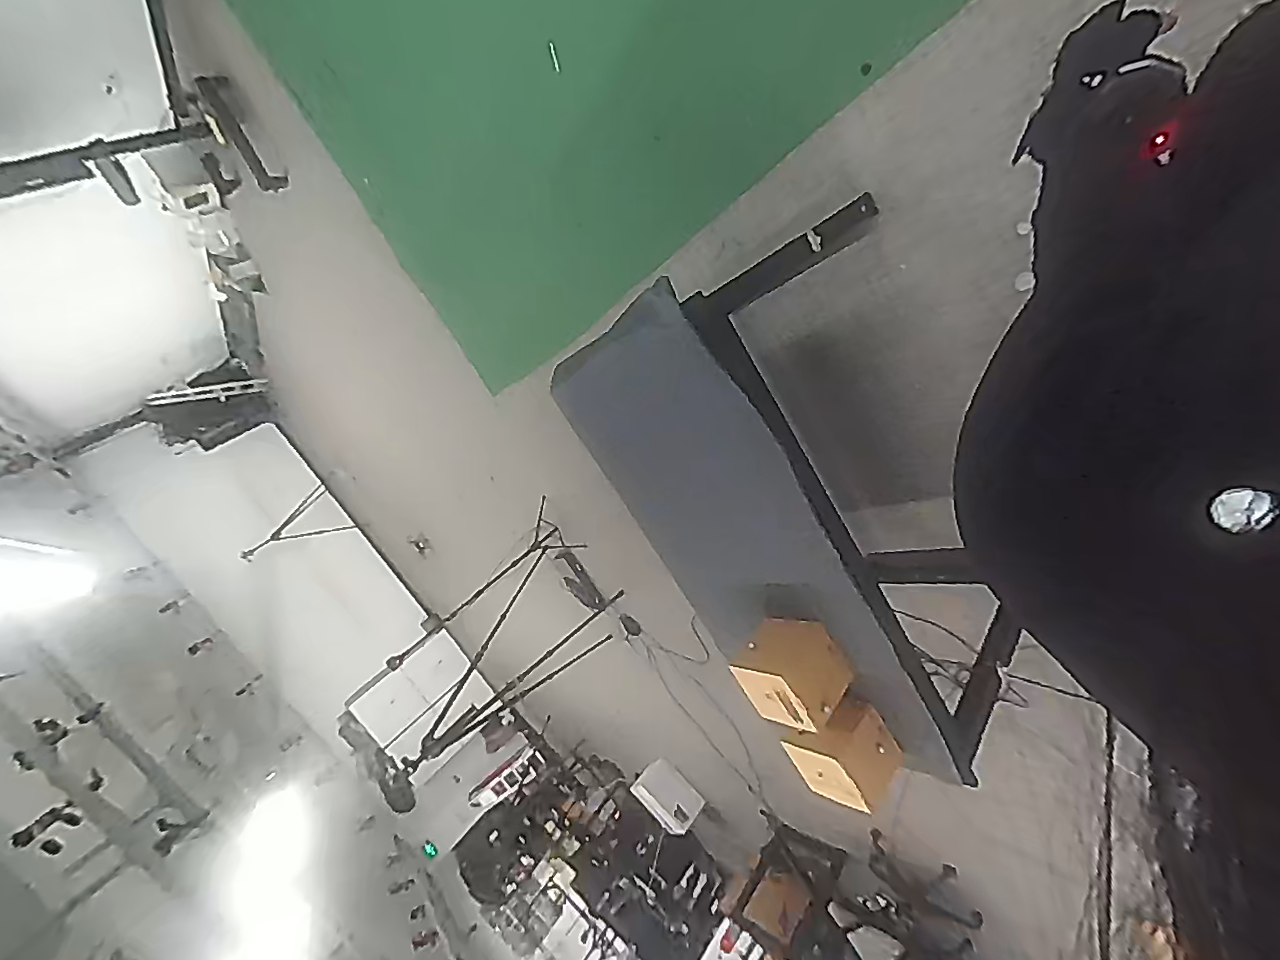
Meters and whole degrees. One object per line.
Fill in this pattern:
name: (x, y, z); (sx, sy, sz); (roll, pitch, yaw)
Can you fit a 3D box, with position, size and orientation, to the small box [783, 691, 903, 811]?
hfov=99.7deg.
small box: (0.484, 0.631, 1.286); (0.168, 0.176, 0.179); (57, 148, -10)
